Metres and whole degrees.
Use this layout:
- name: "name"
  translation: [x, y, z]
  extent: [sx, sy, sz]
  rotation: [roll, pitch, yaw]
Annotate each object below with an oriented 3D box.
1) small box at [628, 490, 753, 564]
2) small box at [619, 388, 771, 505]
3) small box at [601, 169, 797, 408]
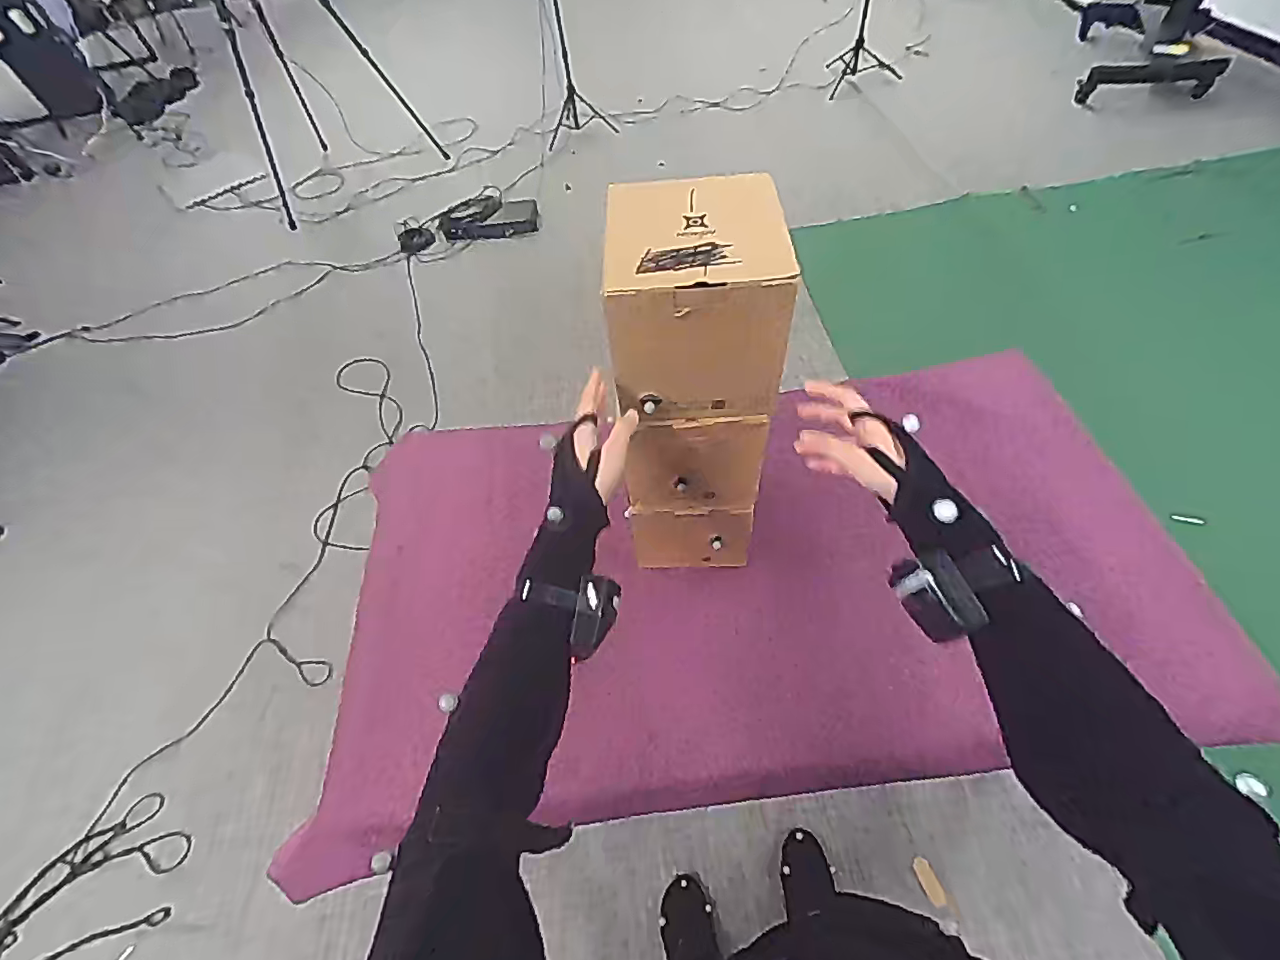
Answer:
- name: "small box"
  translation: [0.078, 0.016, 0.812]
  extent: [0.168, 0.176, 0.179]
  rotation: [-1, 55, 6]
- name: "small box"
  translation: [0.063, -0.085, 0.686]
  extent: [0.168, 0.176, 0.179]
  rotation: [-3, 56, 3]
- name: "small box"
  translation: [0.057, -0.186, 0.556]
  extent: [0.168, 0.176, 0.179]
  rotation: [-2, 55, 4]
